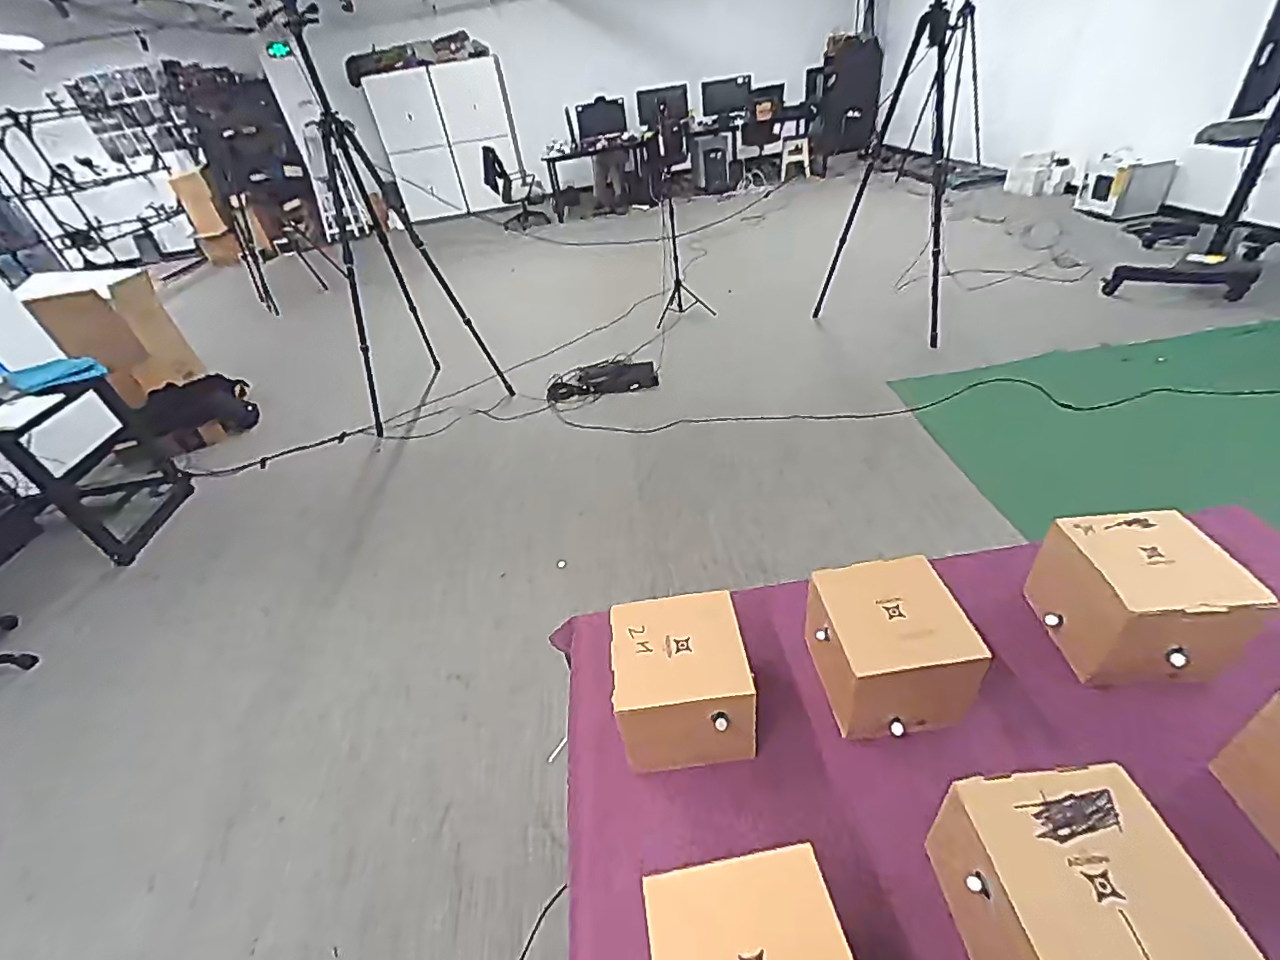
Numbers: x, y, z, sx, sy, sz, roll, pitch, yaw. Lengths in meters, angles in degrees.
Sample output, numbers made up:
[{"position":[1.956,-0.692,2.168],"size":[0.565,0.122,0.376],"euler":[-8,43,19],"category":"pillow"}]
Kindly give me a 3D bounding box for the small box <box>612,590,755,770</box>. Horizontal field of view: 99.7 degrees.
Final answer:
[{"position":[0.060,0.283,0.766],"size":[0.179,0.176,0.168],"euler":[-9,37,2],"category":"small box"}]

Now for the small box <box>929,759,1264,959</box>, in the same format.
[{"position":[0.408,0.403,0.521],"size":[0.168,0.176,0.179],"euler":[-9,37,3],"category":"small box"}]

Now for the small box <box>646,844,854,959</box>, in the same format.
[{"position":[0.104,0.473,0.481],"size":[0.168,0.176,0.179],"euler":[-11,32,-4],"category":"small box"}]

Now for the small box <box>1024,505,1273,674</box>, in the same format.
[{"position":[0.692,0.160,0.767],"size":[0.168,0.176,0.179],"euler":[-5,38,7],"category":"small box"}]
